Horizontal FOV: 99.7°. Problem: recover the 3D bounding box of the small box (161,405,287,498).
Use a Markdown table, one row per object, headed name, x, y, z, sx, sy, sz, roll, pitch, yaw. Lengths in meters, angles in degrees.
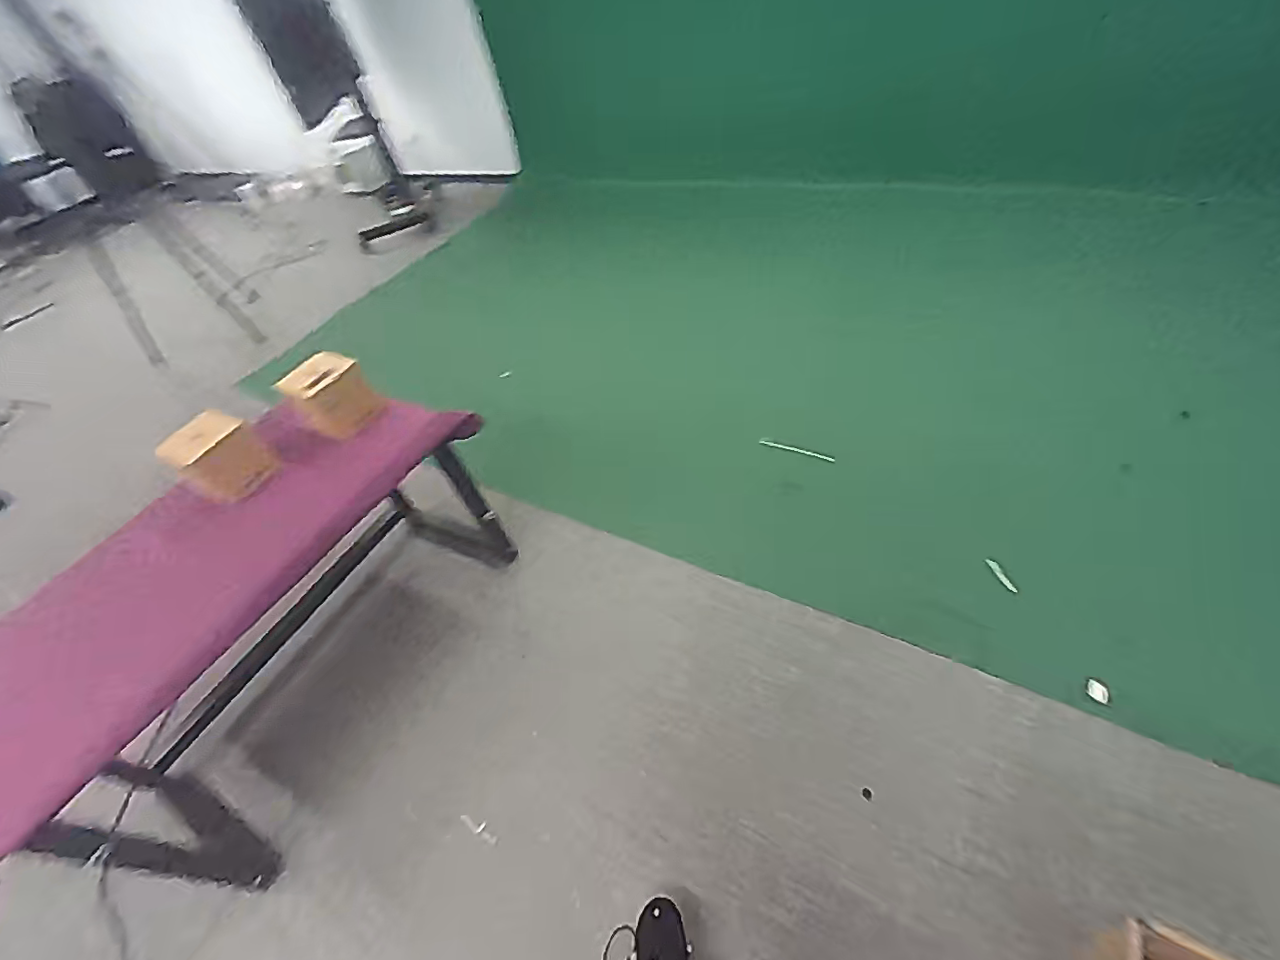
| name | x | y | z | sx | sy | sz | roll | pitch | yaw |
| --- | --- | --- | --- | --- | --- | --- | --- | --- | --- |
| small box | -1.115 | -0.074 | 1.462 | 0.179 | 0.176 | 0.168 | 16 | 55 | 25 |
